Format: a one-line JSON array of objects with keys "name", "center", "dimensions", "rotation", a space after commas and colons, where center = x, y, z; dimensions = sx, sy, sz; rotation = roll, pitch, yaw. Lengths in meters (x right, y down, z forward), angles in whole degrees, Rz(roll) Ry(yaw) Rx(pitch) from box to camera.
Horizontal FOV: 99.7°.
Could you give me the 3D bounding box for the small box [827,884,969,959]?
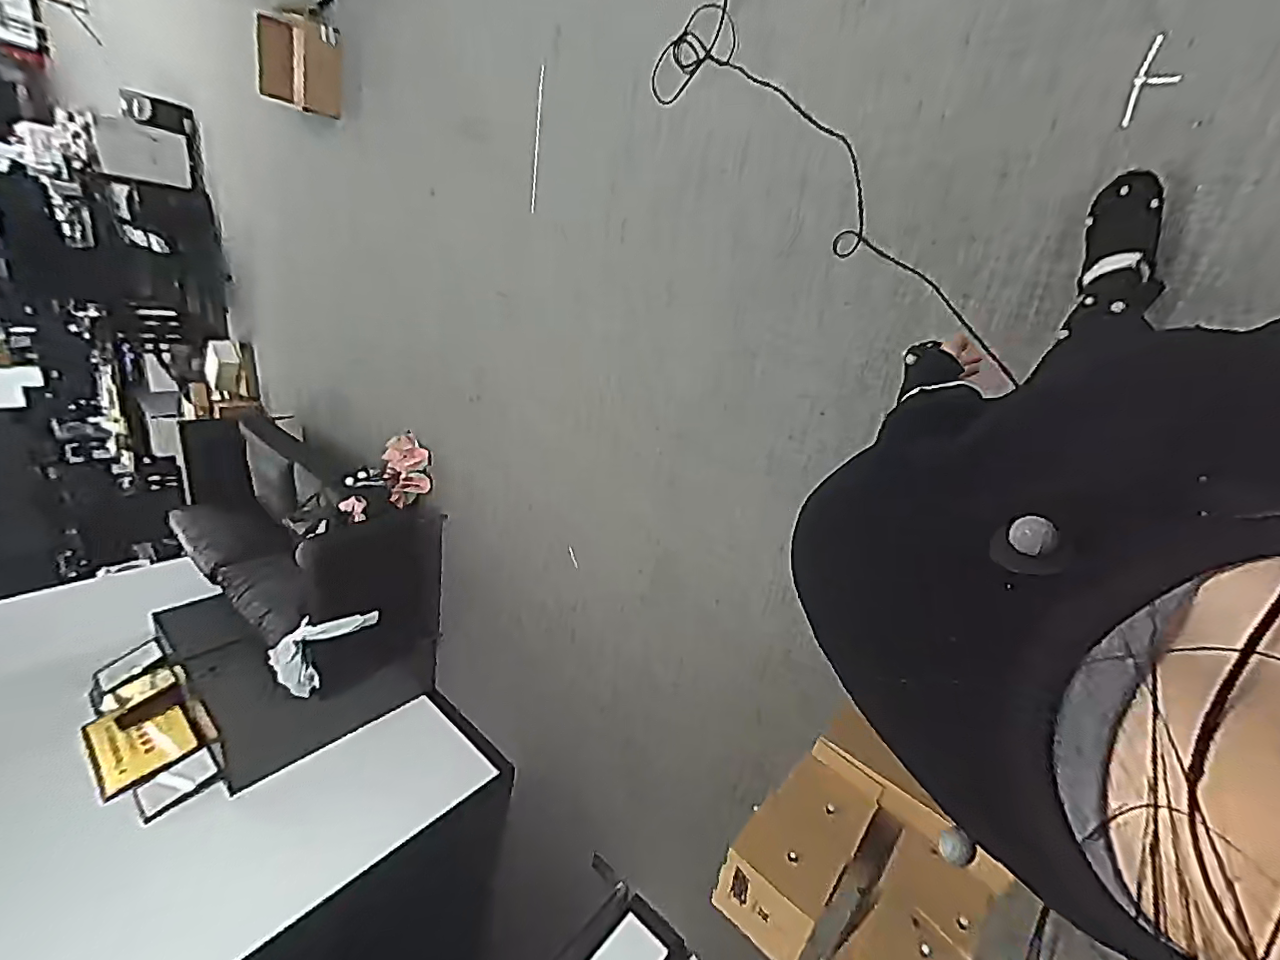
[{"name": "small box", "center": [0.442, 0.870, 0.945], "dimensions": [0.168, 0.176, 0.179], "rotation": [37, 122, 29]}]
